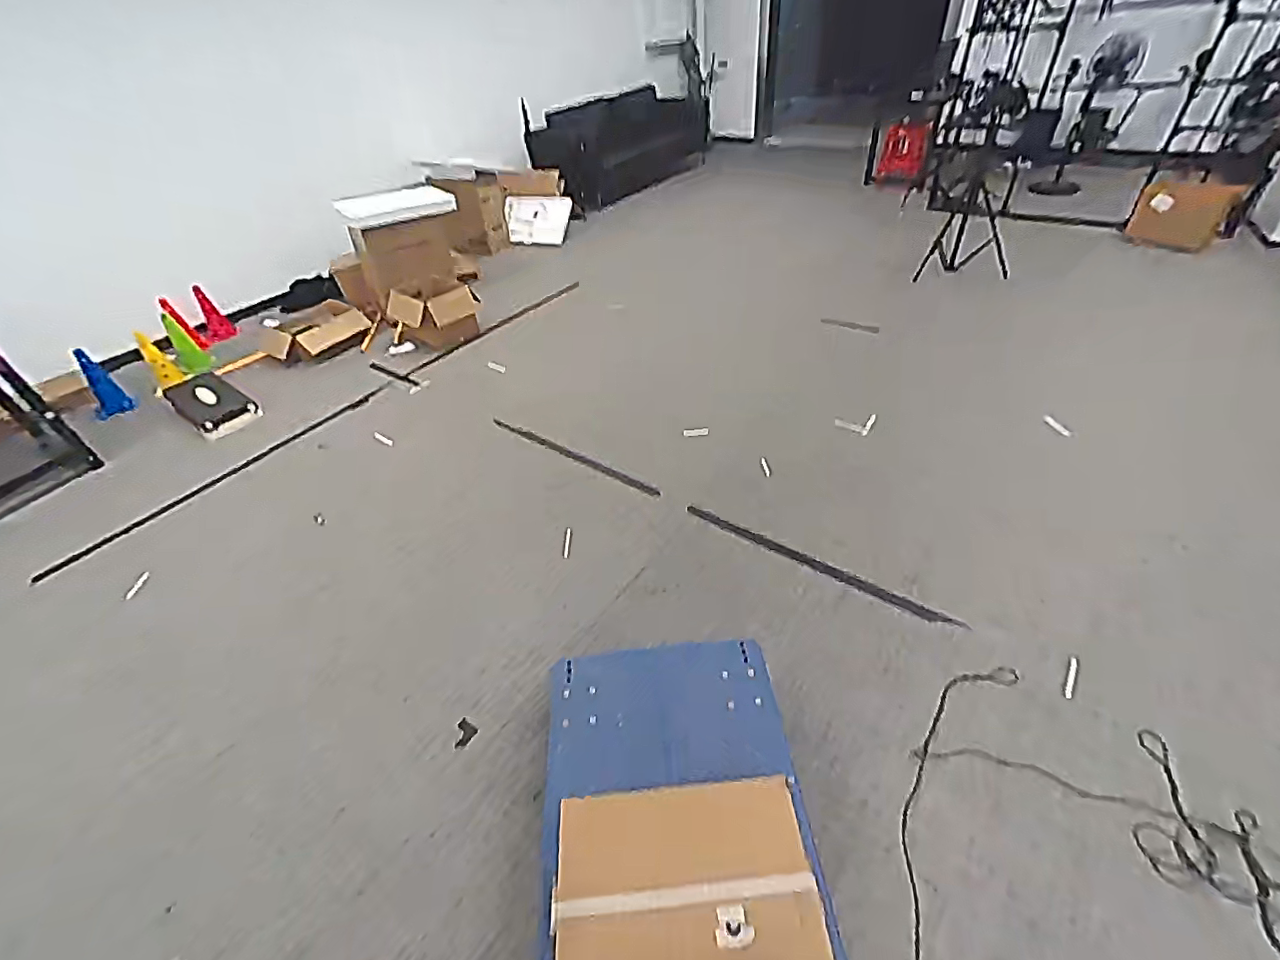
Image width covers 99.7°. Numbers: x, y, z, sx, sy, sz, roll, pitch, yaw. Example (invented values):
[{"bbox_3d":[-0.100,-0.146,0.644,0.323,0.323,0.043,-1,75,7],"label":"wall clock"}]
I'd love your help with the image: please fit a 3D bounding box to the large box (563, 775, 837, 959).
[{"bbox_3d":[0.085,0.762,0.944,0.408,0.320,0.320,-6,42,-1],"label":"large box"}]
